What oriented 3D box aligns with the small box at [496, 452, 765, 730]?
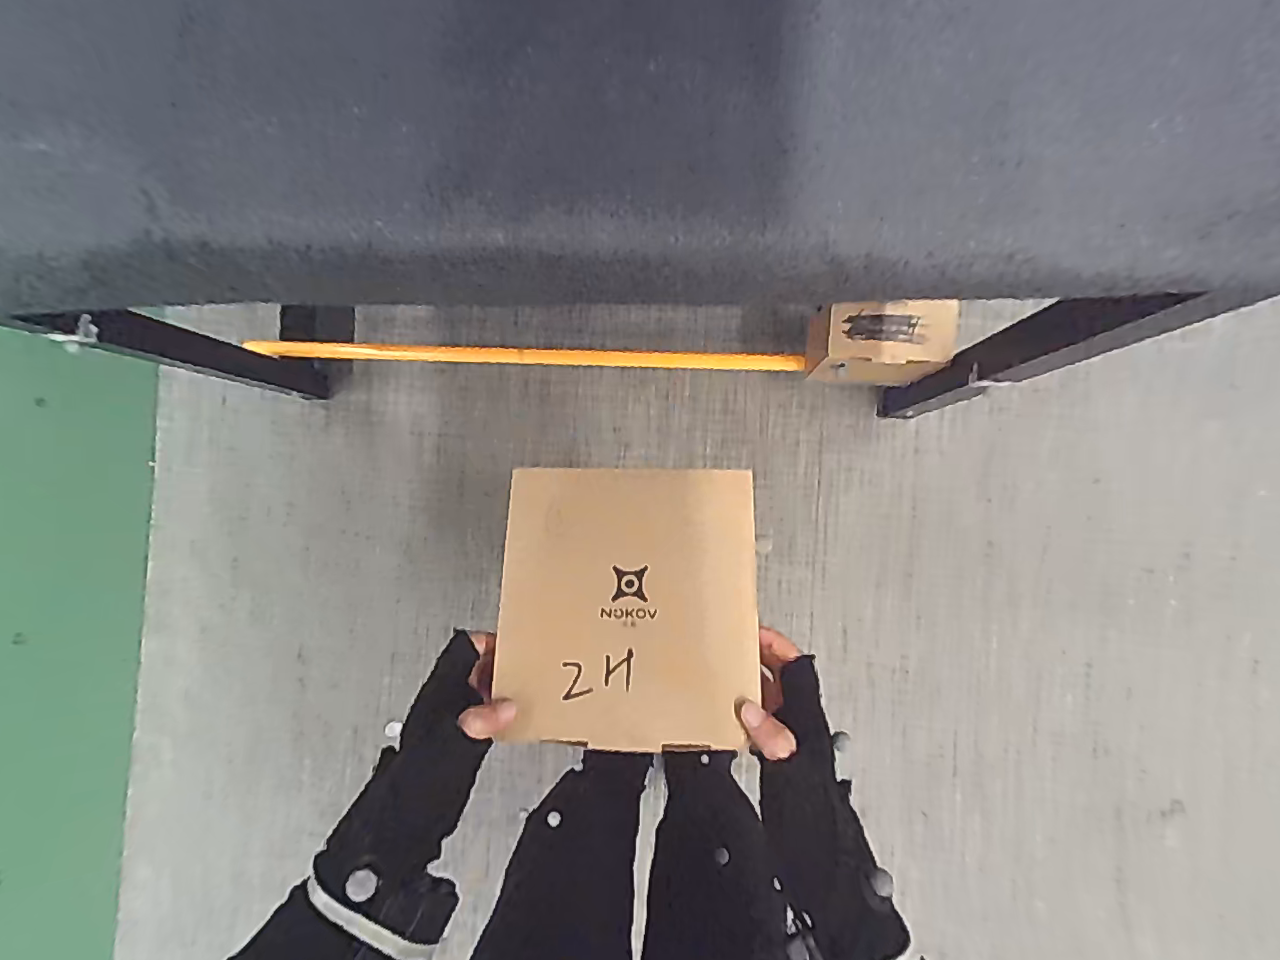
[{"bbox_3d":[-0.001,0.088,0.425,0.168,0.176,0.179,0,73,3],"label":"small box"}]
